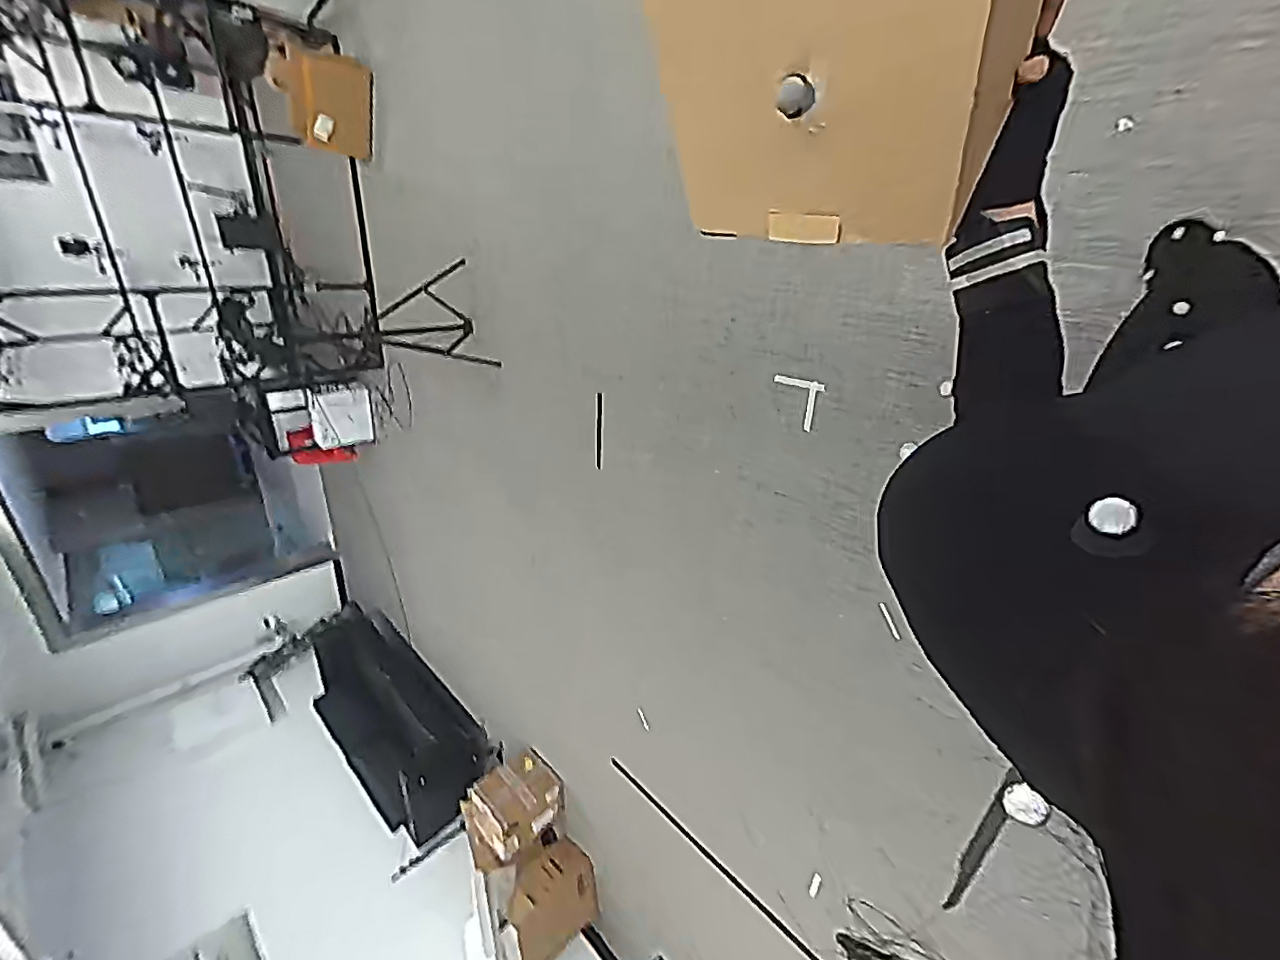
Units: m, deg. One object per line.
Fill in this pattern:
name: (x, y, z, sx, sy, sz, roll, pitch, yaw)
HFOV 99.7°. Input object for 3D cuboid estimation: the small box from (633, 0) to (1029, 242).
small box: (0.112, -0.261, 0.299, 0.168, 0.179, 0.176, 18, 156, 30)
